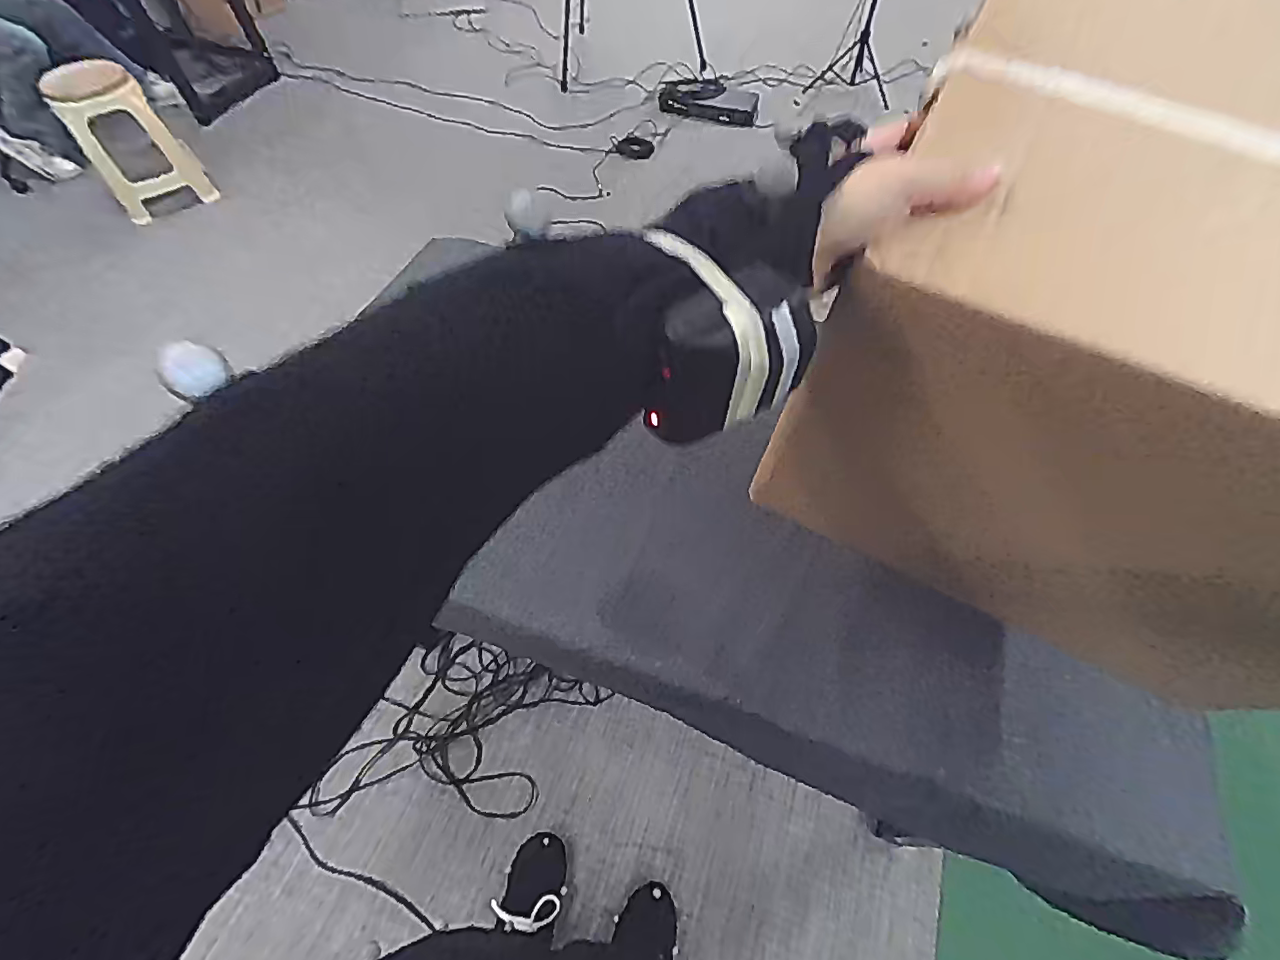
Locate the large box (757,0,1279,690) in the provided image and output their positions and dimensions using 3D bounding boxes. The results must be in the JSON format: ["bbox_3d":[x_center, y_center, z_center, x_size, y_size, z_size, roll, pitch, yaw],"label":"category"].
[{"bbox_3d":[0.350,-0.086,0.398,0.408,0.320,0.320,26,71,10],"label":"large box"}]
